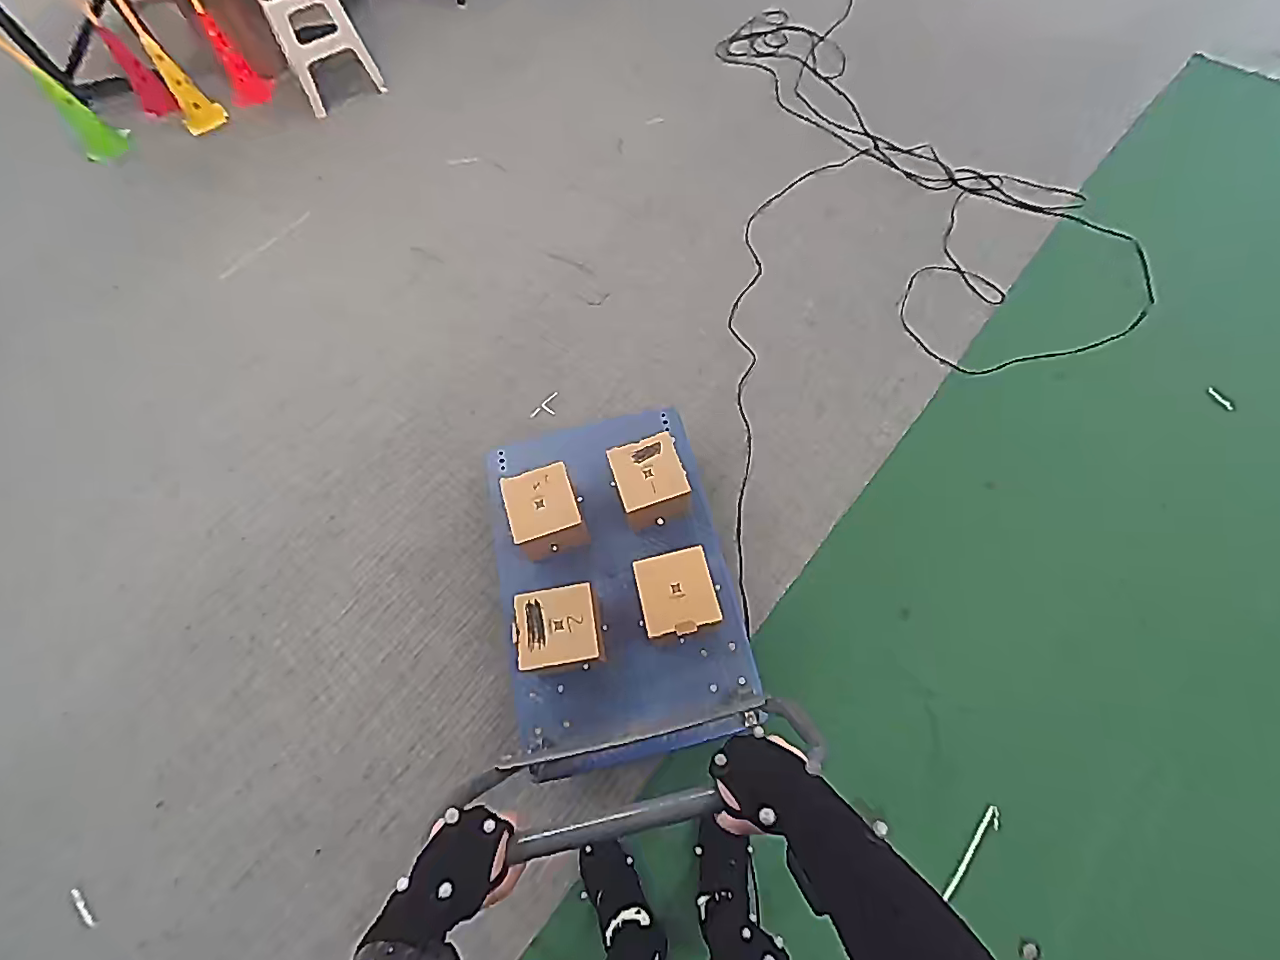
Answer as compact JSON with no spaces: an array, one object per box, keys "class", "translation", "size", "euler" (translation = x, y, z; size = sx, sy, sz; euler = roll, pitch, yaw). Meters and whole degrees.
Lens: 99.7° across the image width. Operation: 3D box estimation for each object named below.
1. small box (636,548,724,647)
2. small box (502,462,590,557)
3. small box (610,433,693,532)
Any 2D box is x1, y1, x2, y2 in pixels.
[{"class":"small box","translation":[0.088,0.278,1.264],"size":[0.168,0.176,0.179],"euler":[-13,67,-2]},{"class":"small box","translation":[-0.232,0.084,1.368],"size":[0.168,0.176,0.179],"euler":[-17,66,-5]},{"class":"small box","translation":[0.029,0.011,1.382],"size":[0.168,0.176,0.179],"euler":[-18,67,-3]}]
